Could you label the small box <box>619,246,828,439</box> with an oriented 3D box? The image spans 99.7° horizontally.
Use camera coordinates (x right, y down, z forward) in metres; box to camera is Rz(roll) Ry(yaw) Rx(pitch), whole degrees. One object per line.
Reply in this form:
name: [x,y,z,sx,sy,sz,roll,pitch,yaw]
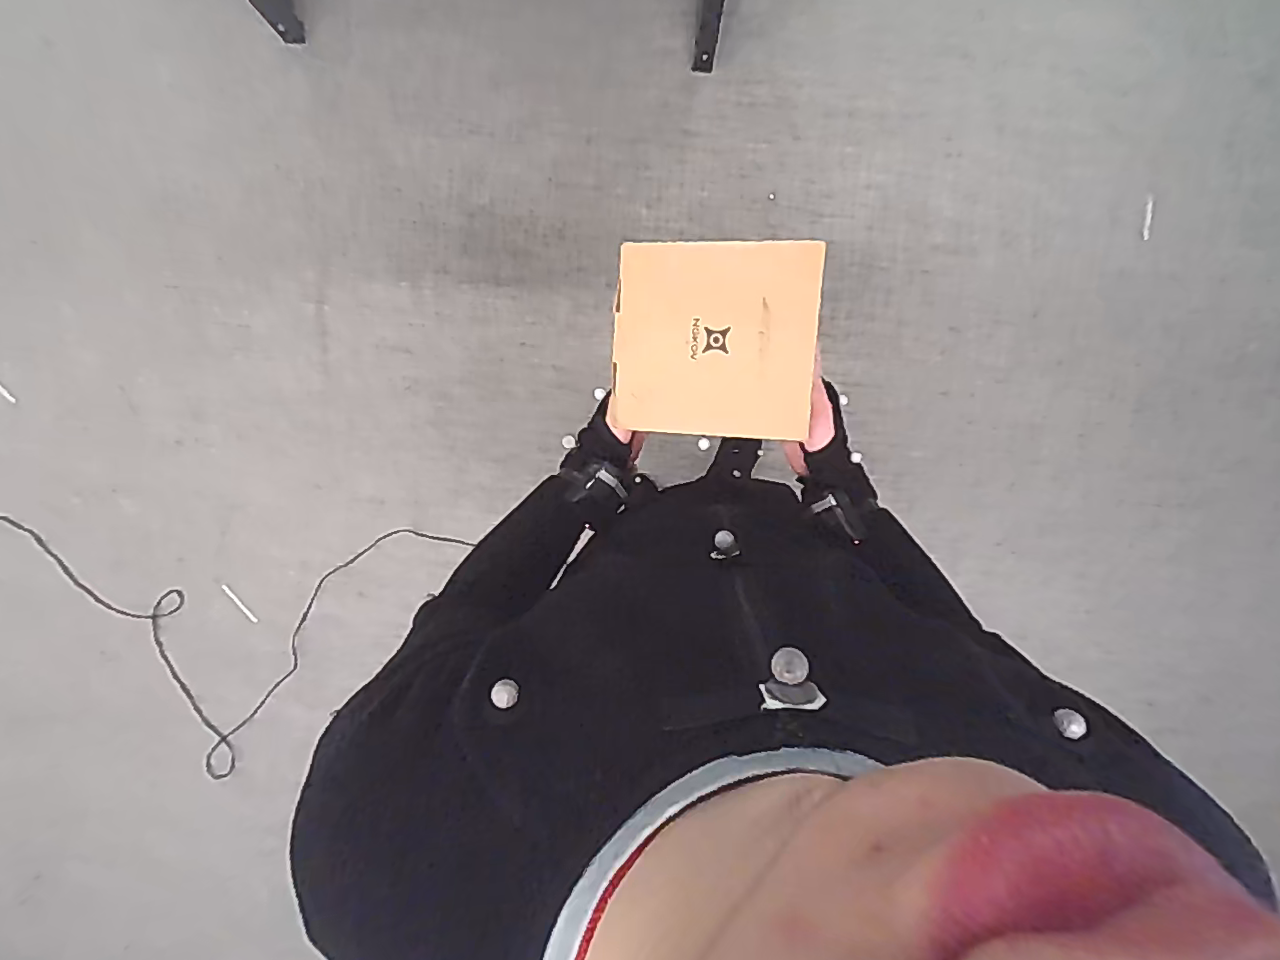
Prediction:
small box: [0.085,-0.131,0.558,0.179,0.176,0.168,4,97,11]
